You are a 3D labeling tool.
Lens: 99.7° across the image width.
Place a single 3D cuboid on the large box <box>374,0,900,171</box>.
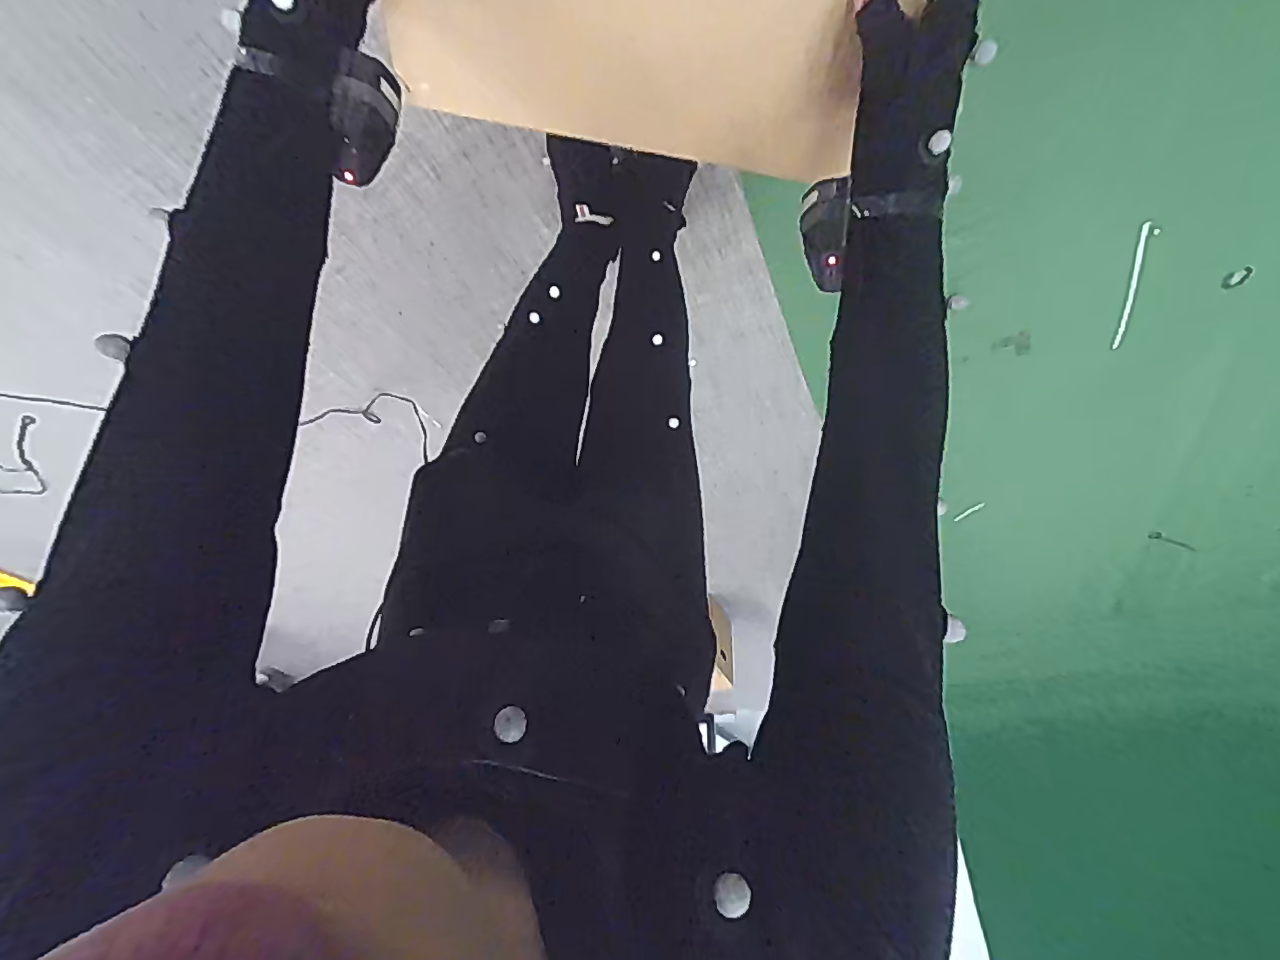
[{"bbox_3d":[0.015,-0.517,0.443,0.408,0.320,0.320,9,145,-3],"label":"large box"}]
